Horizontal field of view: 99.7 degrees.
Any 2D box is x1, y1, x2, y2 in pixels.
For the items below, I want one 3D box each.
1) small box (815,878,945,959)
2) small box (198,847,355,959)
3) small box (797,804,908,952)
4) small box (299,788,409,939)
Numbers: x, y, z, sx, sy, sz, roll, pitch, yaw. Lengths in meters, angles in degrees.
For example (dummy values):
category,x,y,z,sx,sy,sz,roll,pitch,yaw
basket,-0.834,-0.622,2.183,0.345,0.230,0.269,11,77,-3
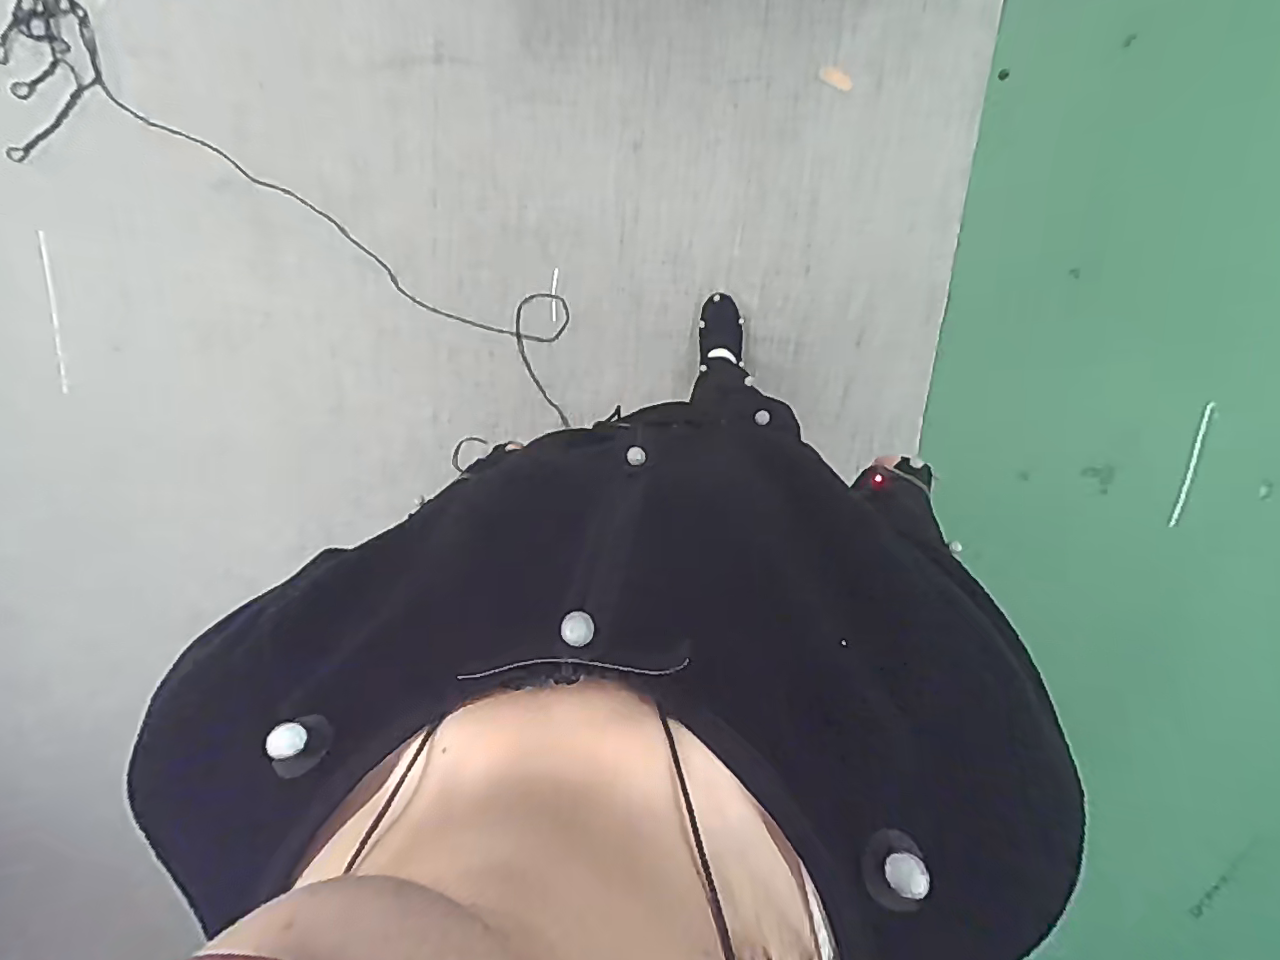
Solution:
category,x,y,z,sx,sy,sz,roll,pitch,yaw
small box,0.386,0.793,0.884,0.168,0.176,0.179,-4,98,8
small box,-0.676,0.846,1.015,0.168,0.176,0.179,38,103,0
small box,0.401,0.761,1.044,0.168,0.176,0.179,-2,100,7
small box,-0.645,0.823,1.176,0.179,0.176,0.168,38,103,0
